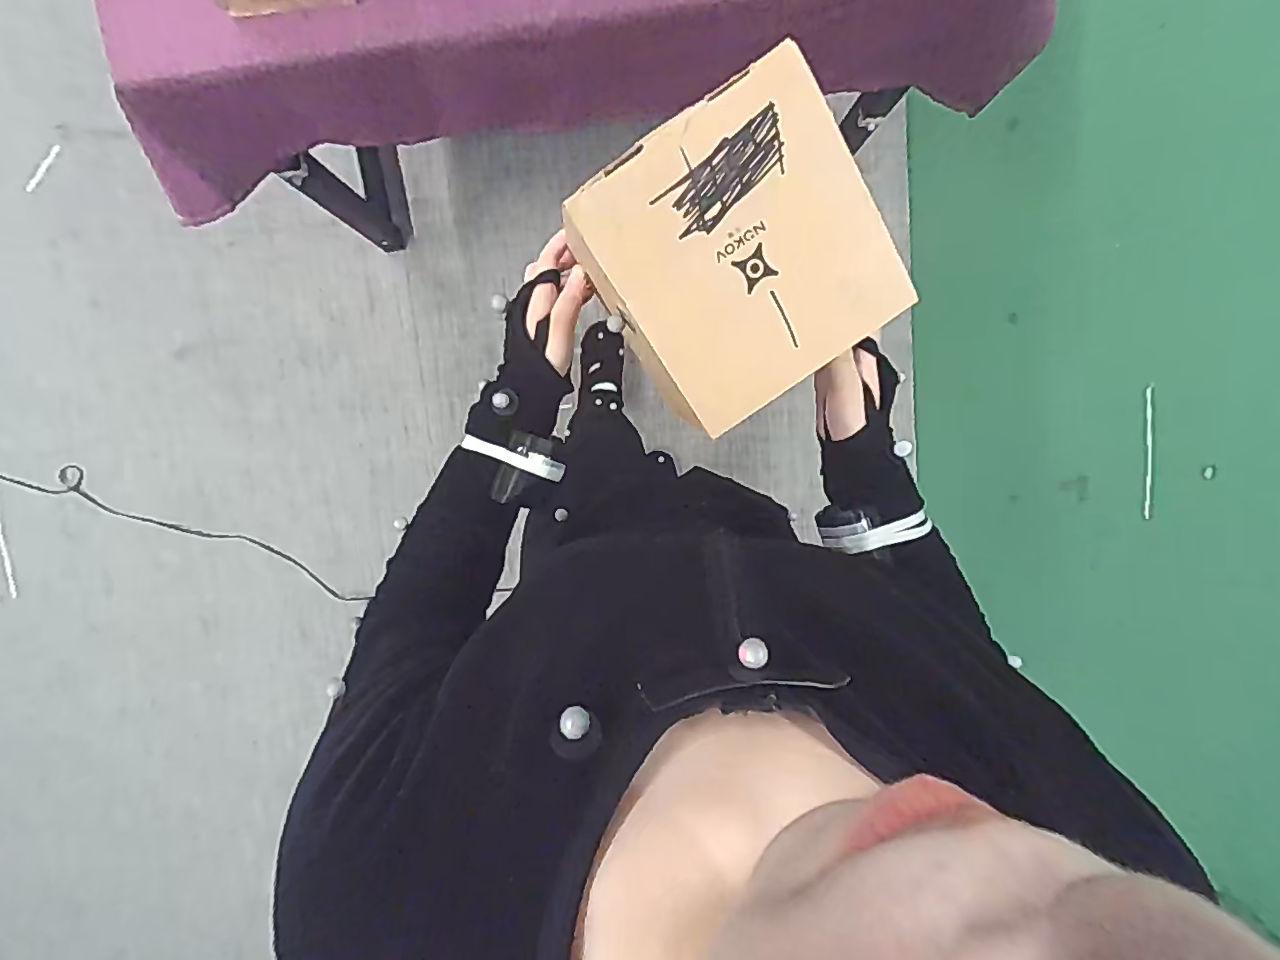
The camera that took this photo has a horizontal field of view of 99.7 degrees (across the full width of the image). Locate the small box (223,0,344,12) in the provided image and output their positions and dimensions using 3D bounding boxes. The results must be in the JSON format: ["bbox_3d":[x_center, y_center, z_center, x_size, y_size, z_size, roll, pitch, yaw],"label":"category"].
[{"bbox_3d":[-0.446,-0.668,0.587,0.168,0.176,0.179,-8,97,-1],"label":"small box"}]
